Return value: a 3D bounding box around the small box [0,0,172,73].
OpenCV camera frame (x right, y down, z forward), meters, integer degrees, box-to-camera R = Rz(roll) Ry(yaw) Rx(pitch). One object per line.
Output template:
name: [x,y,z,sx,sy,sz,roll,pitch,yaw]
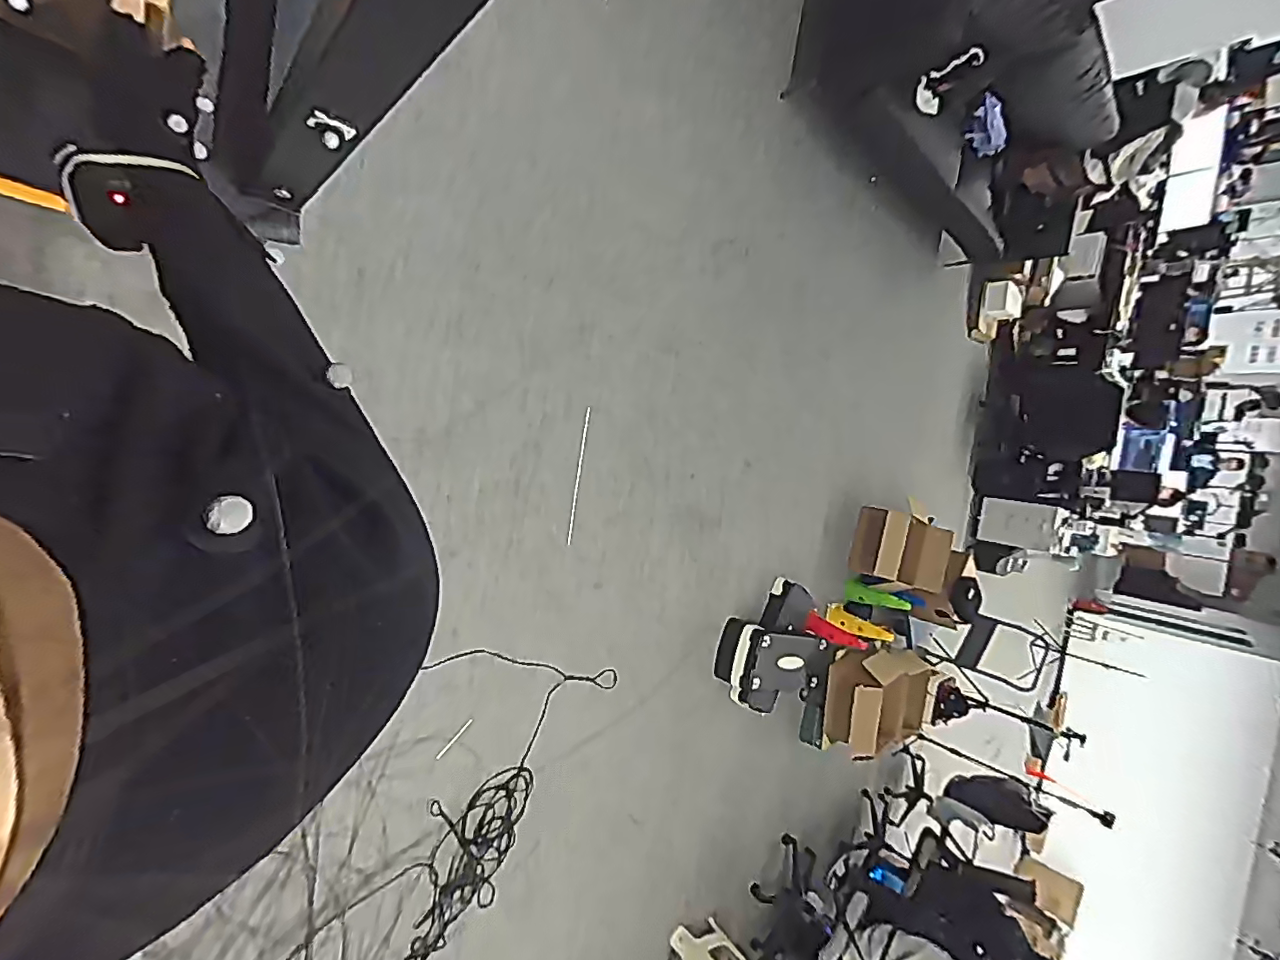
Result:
small box: [-0.479,-0.482,0.432,0.168,0.176,0.179,7,93,-44]
